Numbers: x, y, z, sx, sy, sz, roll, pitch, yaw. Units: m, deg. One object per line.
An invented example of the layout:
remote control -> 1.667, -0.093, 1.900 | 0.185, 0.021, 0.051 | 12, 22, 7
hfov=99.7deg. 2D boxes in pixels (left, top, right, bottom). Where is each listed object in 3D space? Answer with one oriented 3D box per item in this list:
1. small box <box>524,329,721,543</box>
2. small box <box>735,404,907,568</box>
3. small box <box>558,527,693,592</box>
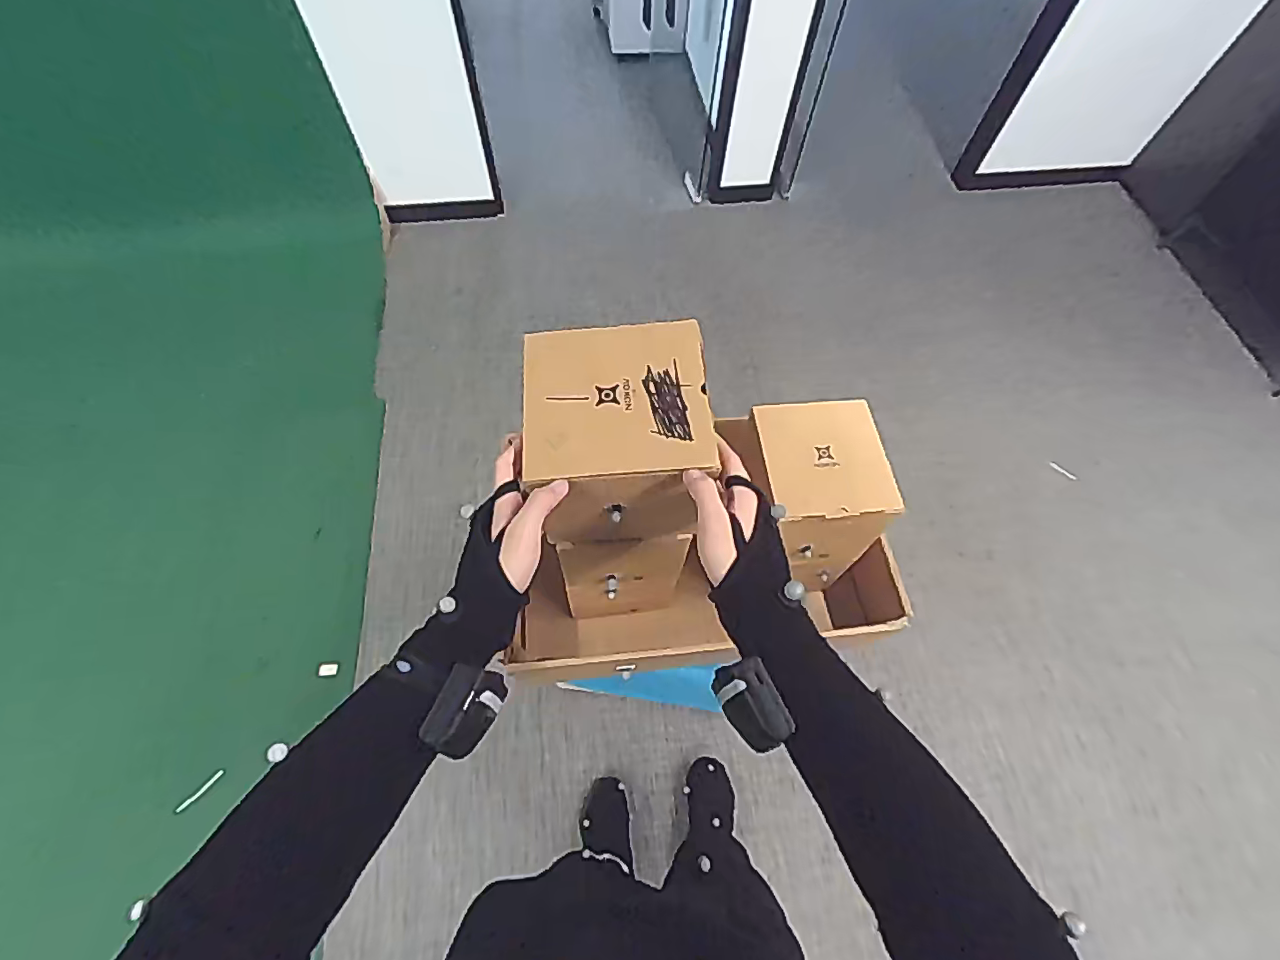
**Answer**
small box -> -0.021, -0.039, 0.578 | 0.179, 0.176, 0.168 | -4, 64, -2
small box -> 0.242, 0.012, 0.778 | 0.168, 0.176, 0.179 | -4, 61, -4
small box -> -0.028, 0.042, 0.754 | 0.168, 0.176, 0.179 | -4, 61, -4
